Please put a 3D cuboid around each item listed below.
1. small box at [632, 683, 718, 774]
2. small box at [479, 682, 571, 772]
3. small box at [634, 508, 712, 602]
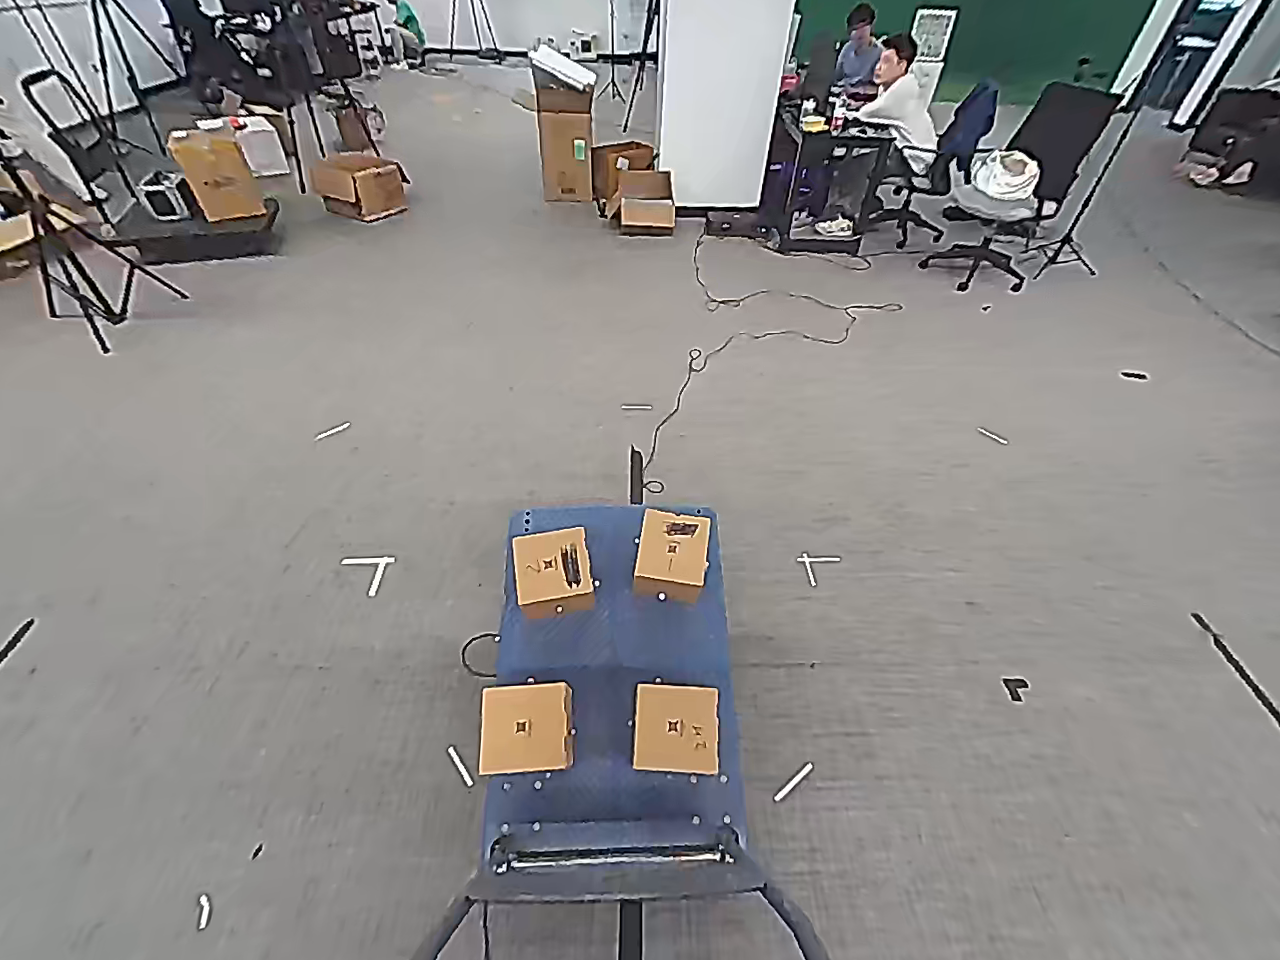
[{"bbox_3d":[0.074,0.550,1.194,0.179,0.176,0.168,4,64,0],"label":"small box"},{"bbox_3d":[-0.244,0.543,1.185,0.179,0.176,0.168,-2,64,-5],"label":"small box"},{"bbox_3d":[0.079,0.195,1.372,0.168,0.176,0.179,9,65,2],"label":"small box"}]
